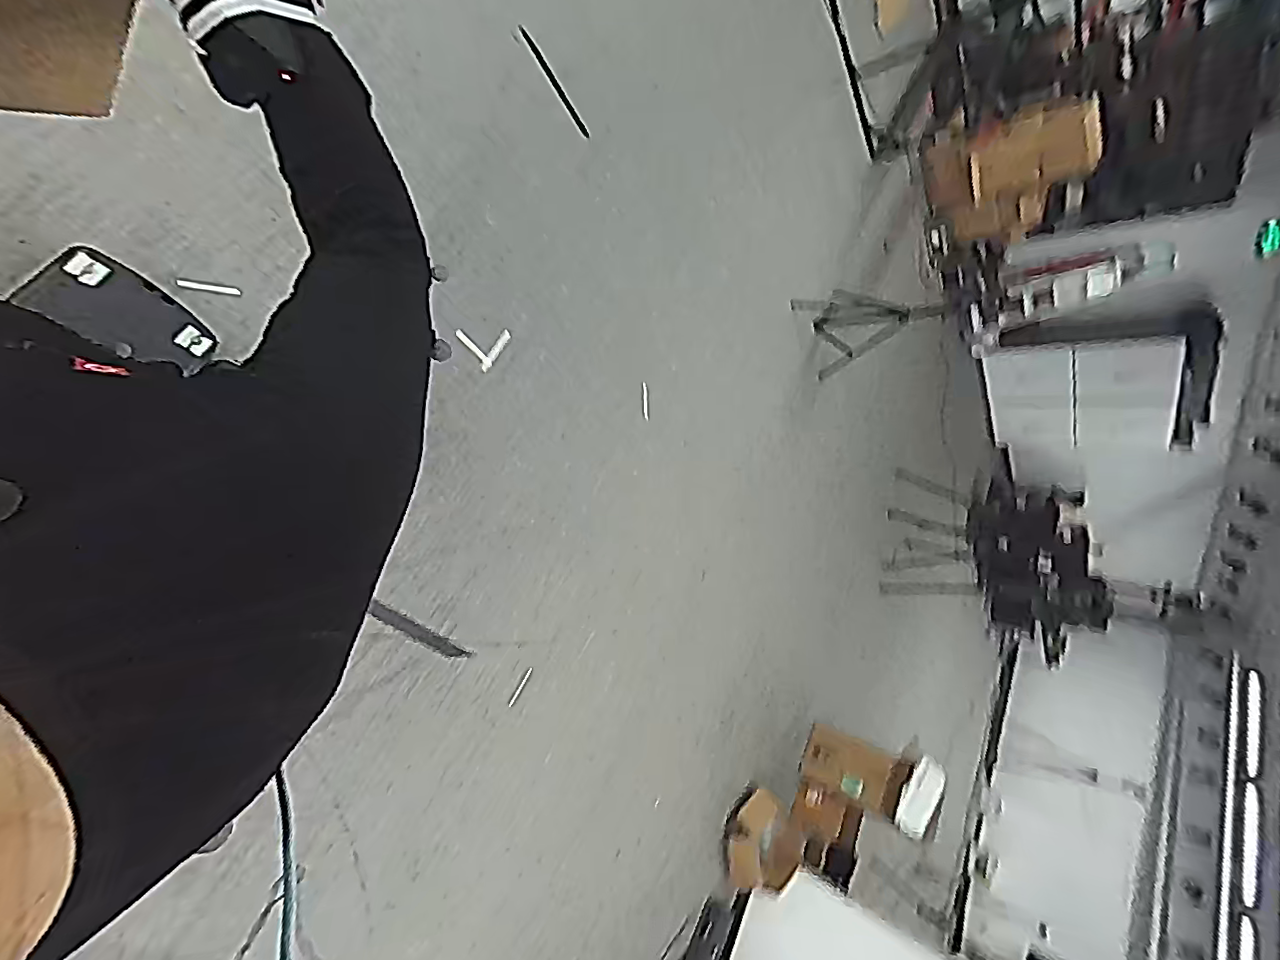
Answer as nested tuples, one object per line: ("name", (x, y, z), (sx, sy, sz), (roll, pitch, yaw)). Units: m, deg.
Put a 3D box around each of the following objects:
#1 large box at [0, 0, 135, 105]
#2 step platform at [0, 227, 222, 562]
("large box", (-0.554, -0.410, 0.239), (0.408, 0.320, 0.320), (-29, 118, -43))
("step platform", (-1.197, -0.172, 1.075), (0.286, 0.204, 0.684), (45, 62, -40))
